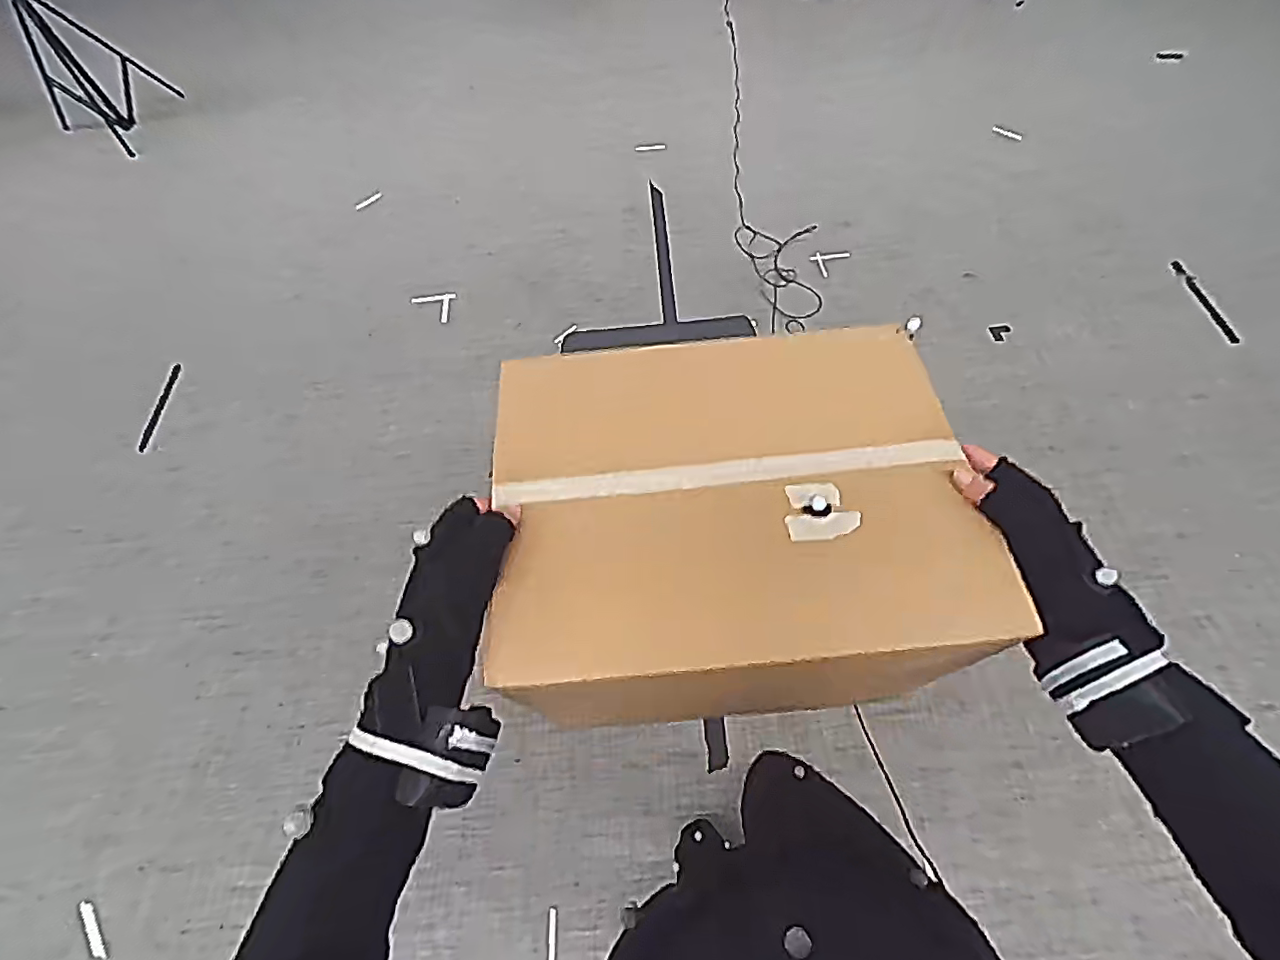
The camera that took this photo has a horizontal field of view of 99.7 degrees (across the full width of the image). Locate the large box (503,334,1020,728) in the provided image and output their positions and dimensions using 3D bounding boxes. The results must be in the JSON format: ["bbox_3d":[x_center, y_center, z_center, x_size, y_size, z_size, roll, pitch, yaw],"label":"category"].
[{"bbox_3d":[0.084,0.075,0.608,0.408,0.320,0.320,-6,60,0],"label":"large box"}]
